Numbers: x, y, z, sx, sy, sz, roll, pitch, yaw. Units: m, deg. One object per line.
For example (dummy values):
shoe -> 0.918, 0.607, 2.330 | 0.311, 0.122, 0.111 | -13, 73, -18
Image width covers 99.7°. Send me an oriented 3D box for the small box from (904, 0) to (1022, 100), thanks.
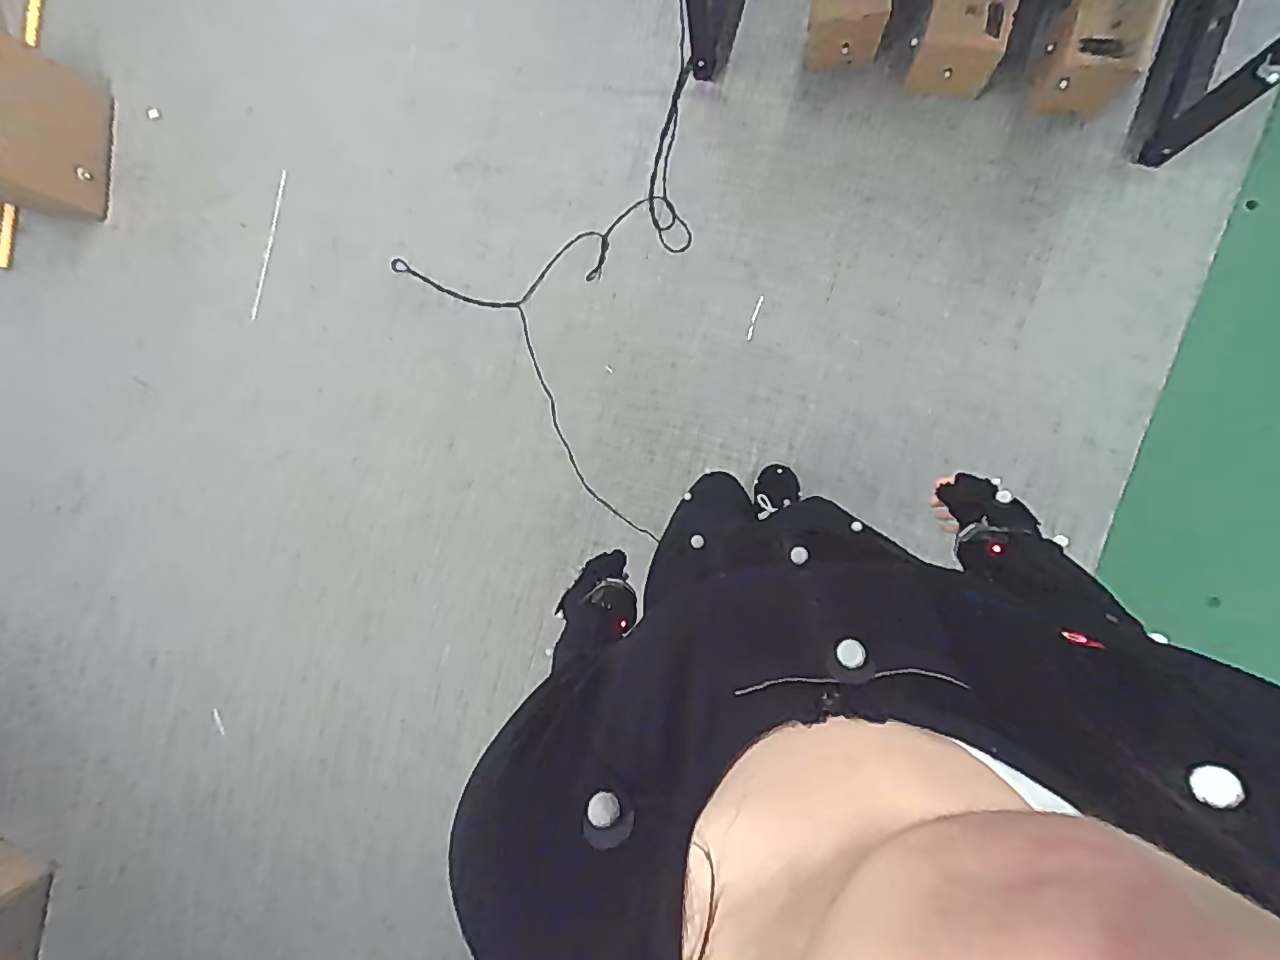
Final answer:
small box -> 0.760, -1.042, 1.281 | 0.179, 0.176, 0.168 | 16, 94, 10
